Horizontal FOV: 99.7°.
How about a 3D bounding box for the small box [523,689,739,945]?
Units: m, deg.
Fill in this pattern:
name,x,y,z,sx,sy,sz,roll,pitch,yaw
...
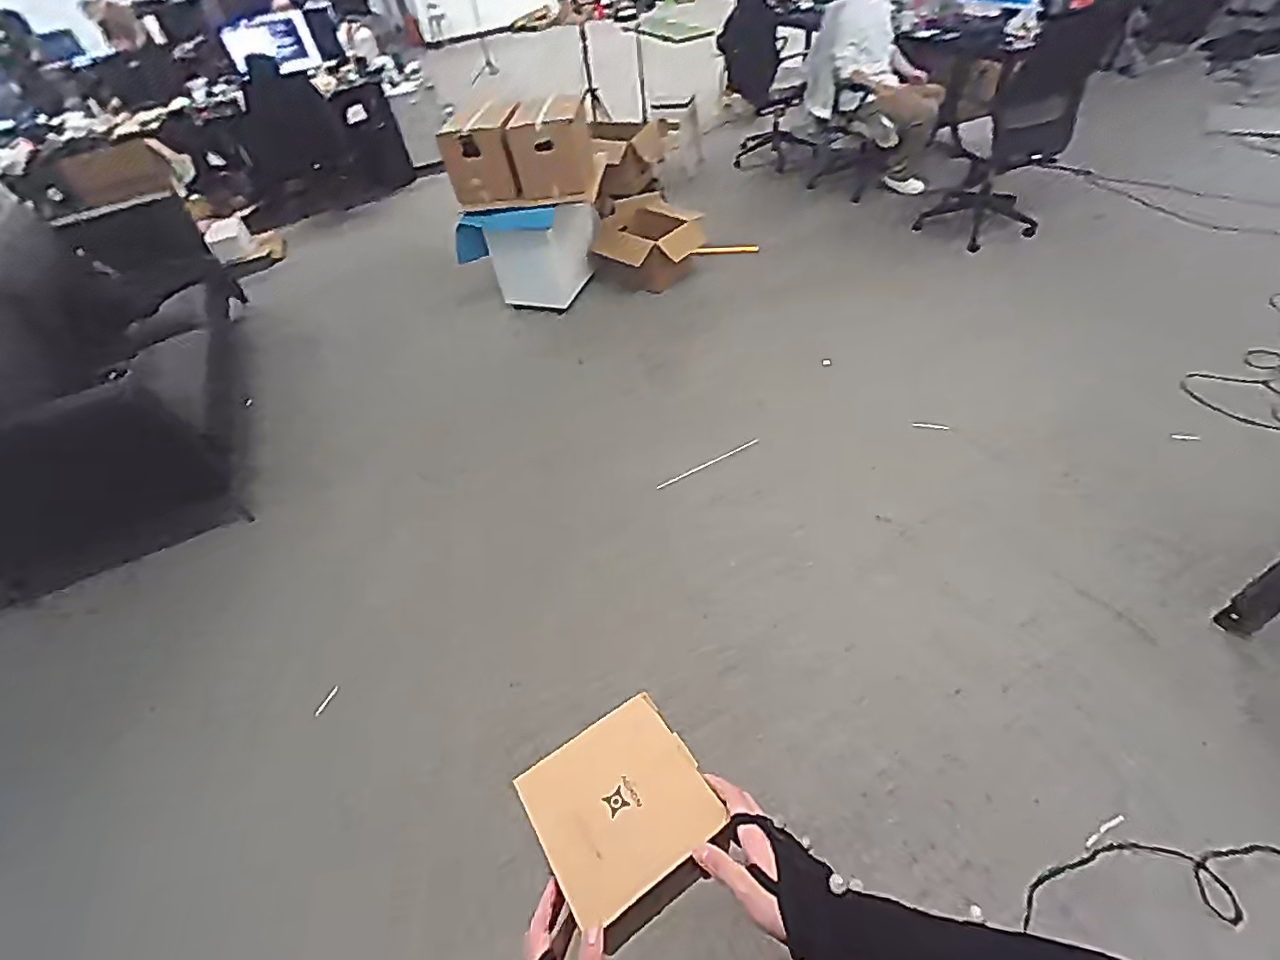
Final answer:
name,x,y,z,sx,sy,sz,roll,pitch,yaw
small box,-0.009,0.385,0.622,0.179,0.176,0.168,-28,49,-19
